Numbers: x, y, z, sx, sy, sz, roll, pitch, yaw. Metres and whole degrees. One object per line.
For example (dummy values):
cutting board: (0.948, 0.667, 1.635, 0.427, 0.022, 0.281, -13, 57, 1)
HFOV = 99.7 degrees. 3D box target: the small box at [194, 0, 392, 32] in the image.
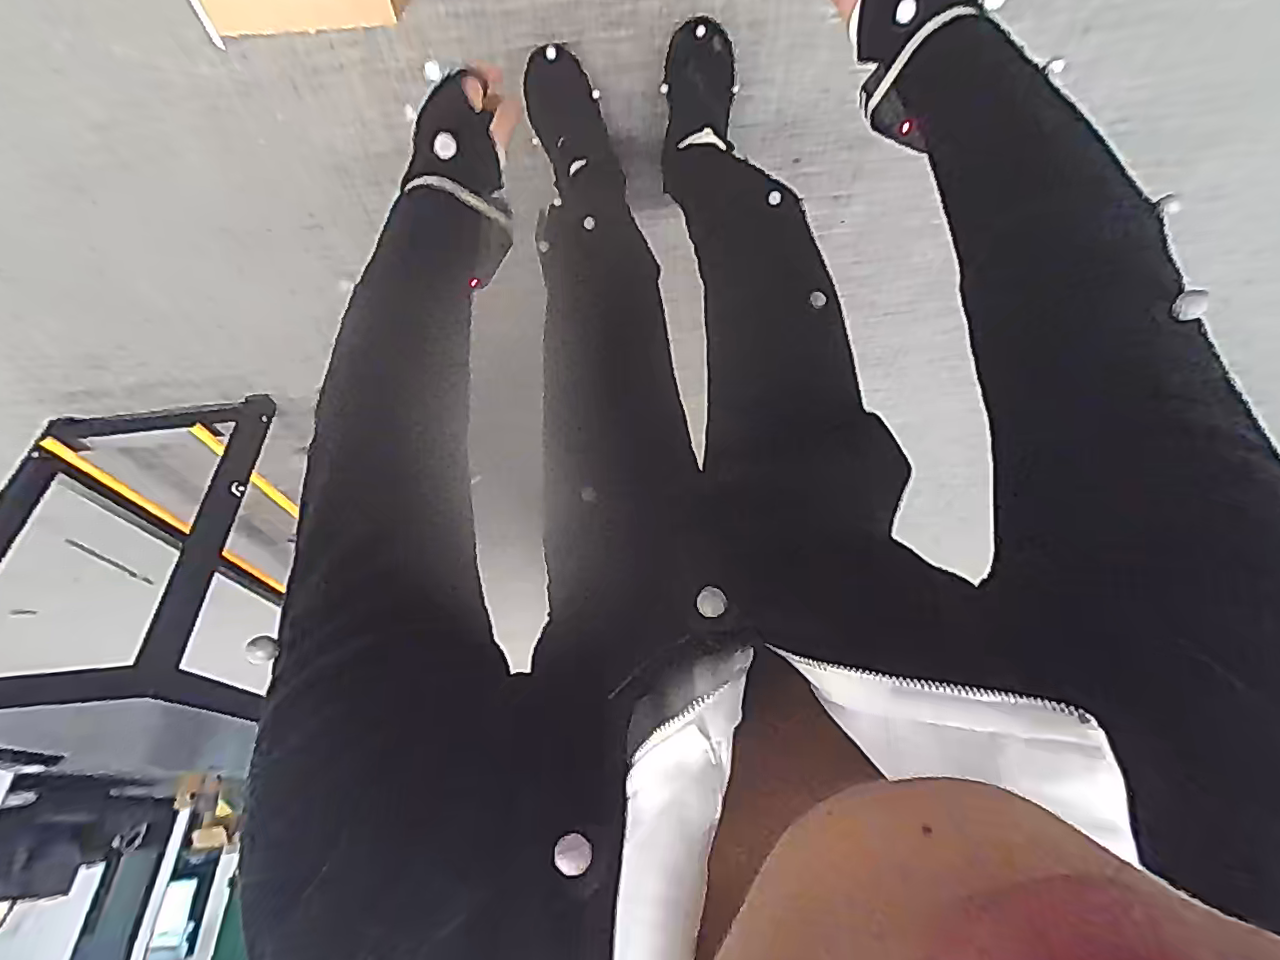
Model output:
small box: (-0.331, -0.545, 0.499, 0.179, 0.176, 0.168, -5, 146, -2)
